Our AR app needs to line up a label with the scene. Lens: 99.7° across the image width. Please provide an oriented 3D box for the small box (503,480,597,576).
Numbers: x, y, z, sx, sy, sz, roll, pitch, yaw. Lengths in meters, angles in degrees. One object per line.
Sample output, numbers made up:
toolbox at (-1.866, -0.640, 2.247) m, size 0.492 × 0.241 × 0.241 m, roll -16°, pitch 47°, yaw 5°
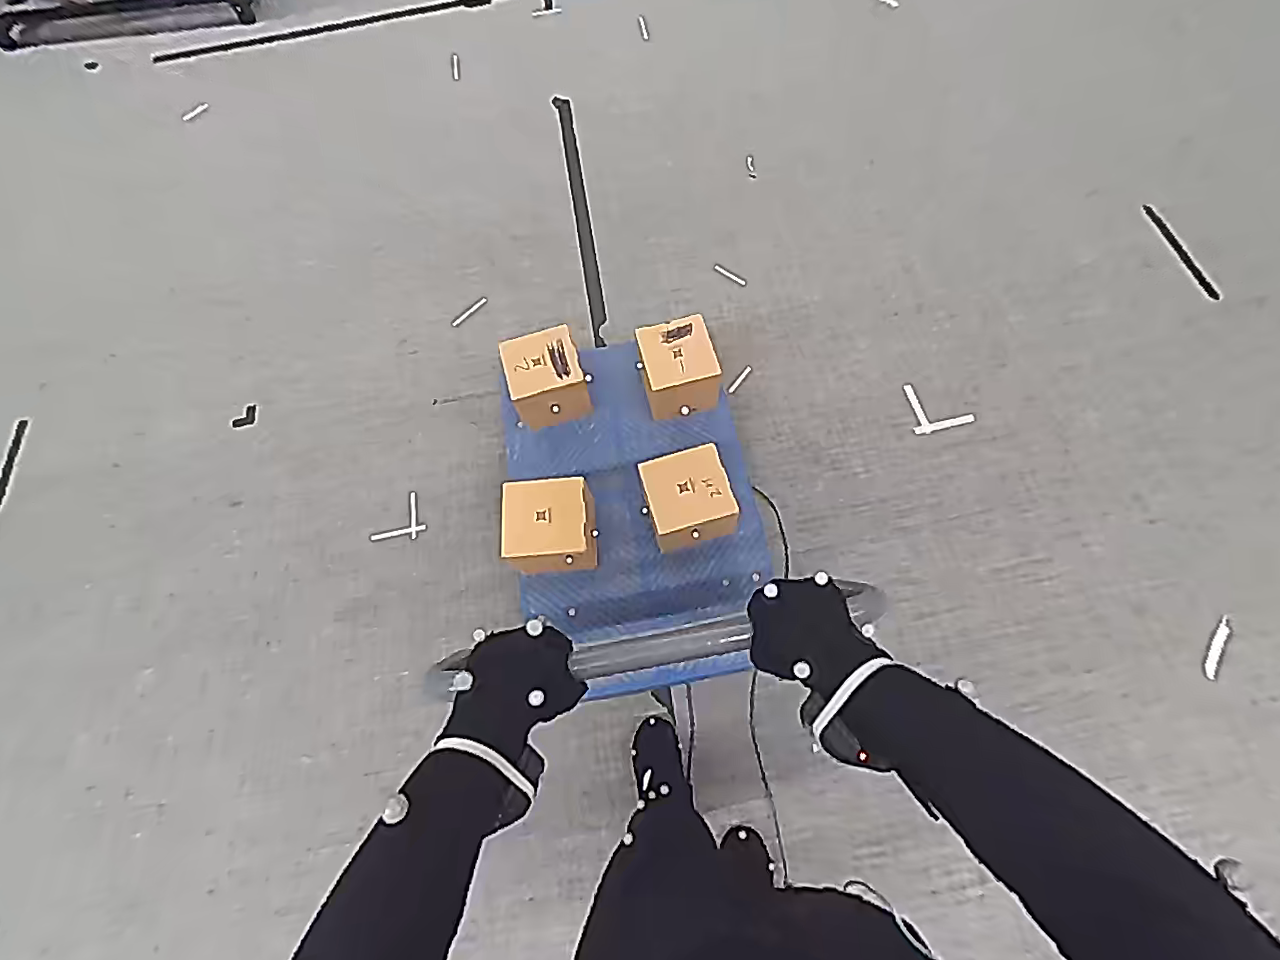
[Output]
small box at (-0.195, 0.112, 1.207) m, size 0.179 × 0.176 × 0.168 m, roll -5°, pitch 68°, yaw 0°

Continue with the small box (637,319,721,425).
small box at (0.093, -0.263, 1.335) m, size 0.168 × 0.176 × 0.179 m, roll -14°, pitch 69°, yaw -2°

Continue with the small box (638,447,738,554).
small box at (0.106, 0.052, 1.210) m, size 0.179 × 0.176 × 0.168 m, roll -16°, pitch 68°, yaw -2°
